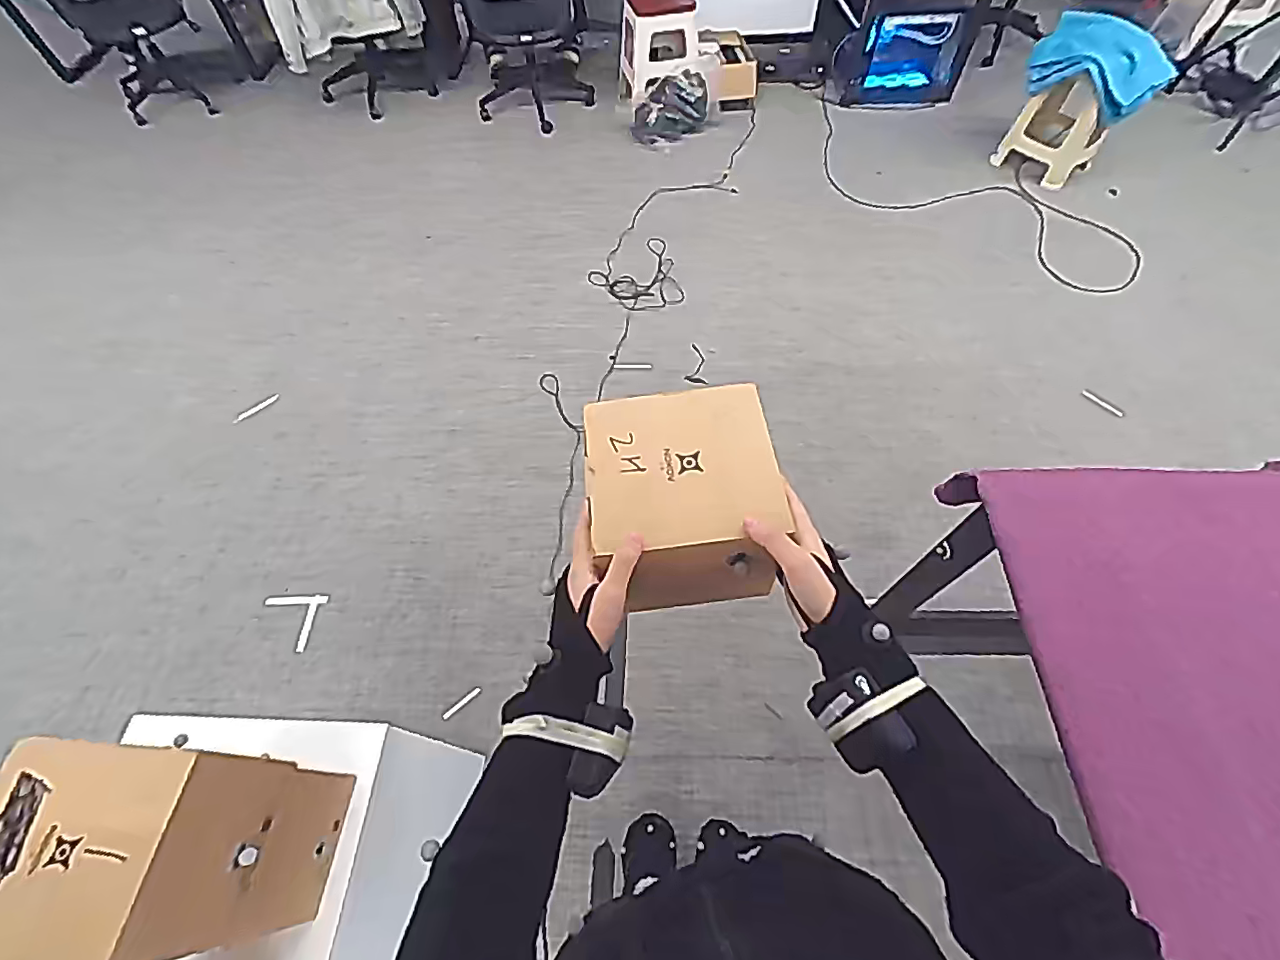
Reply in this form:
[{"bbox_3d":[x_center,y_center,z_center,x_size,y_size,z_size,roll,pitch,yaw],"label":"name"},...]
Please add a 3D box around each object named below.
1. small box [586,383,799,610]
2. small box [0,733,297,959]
[{"bbox_3d":[0.045,0.024,0.558,0.179,0.176,0.168,-7,59,1],"label":"small box"},{"bbox_3d":[-0.489,0.352,0.527,0.179,0.176,0.168,3,60,2],"label":"small box"}]
